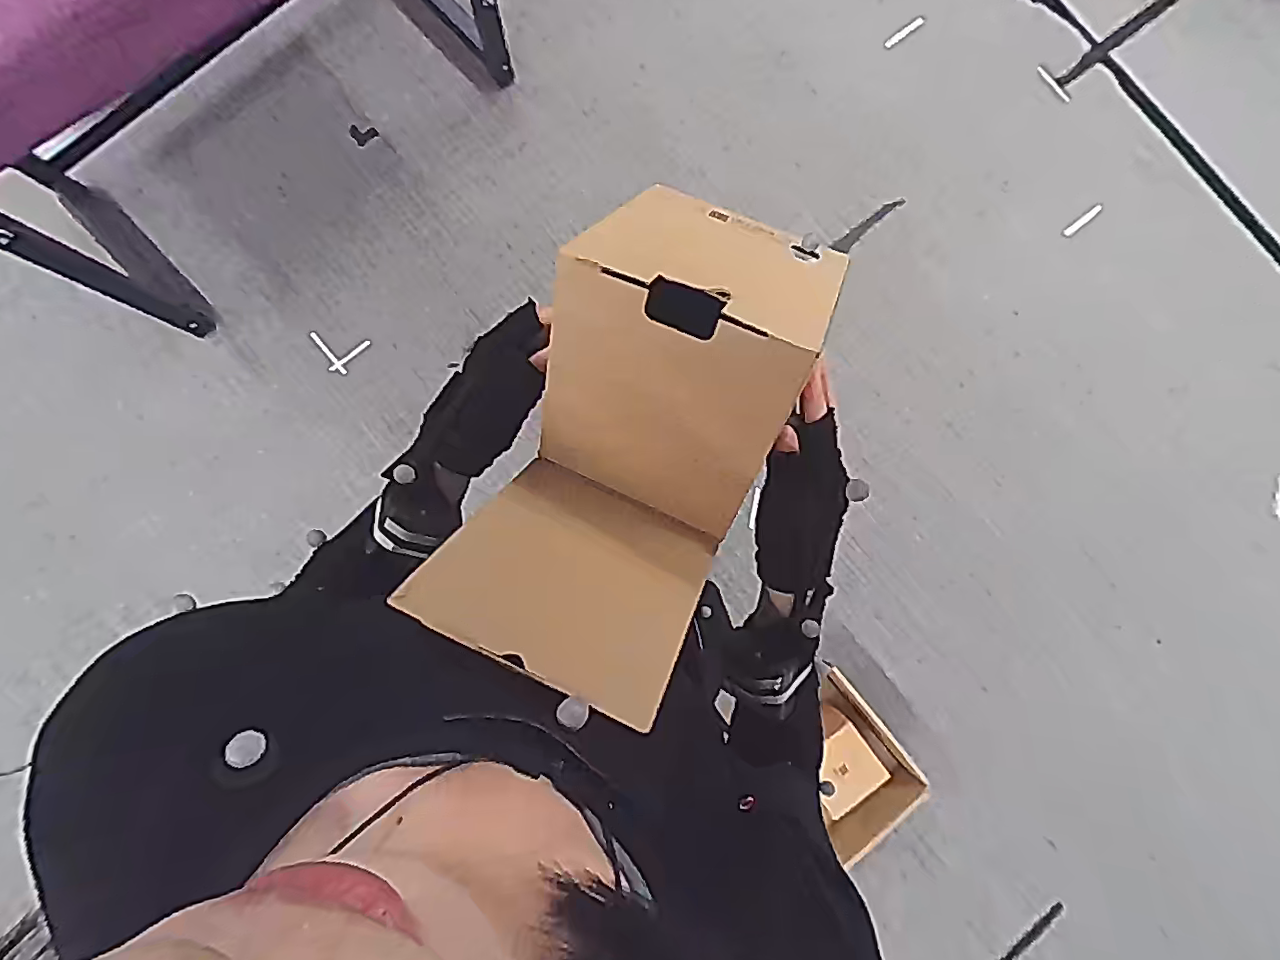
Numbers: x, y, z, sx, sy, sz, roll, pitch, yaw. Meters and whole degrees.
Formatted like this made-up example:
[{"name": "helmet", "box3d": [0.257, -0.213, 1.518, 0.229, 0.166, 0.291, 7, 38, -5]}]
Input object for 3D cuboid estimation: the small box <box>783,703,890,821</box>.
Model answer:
[{"name": "small box", "box3d": [0.486, 0.707, 1.376, 0.179, 0.176, 0.168, -36, 88, -5]}]
